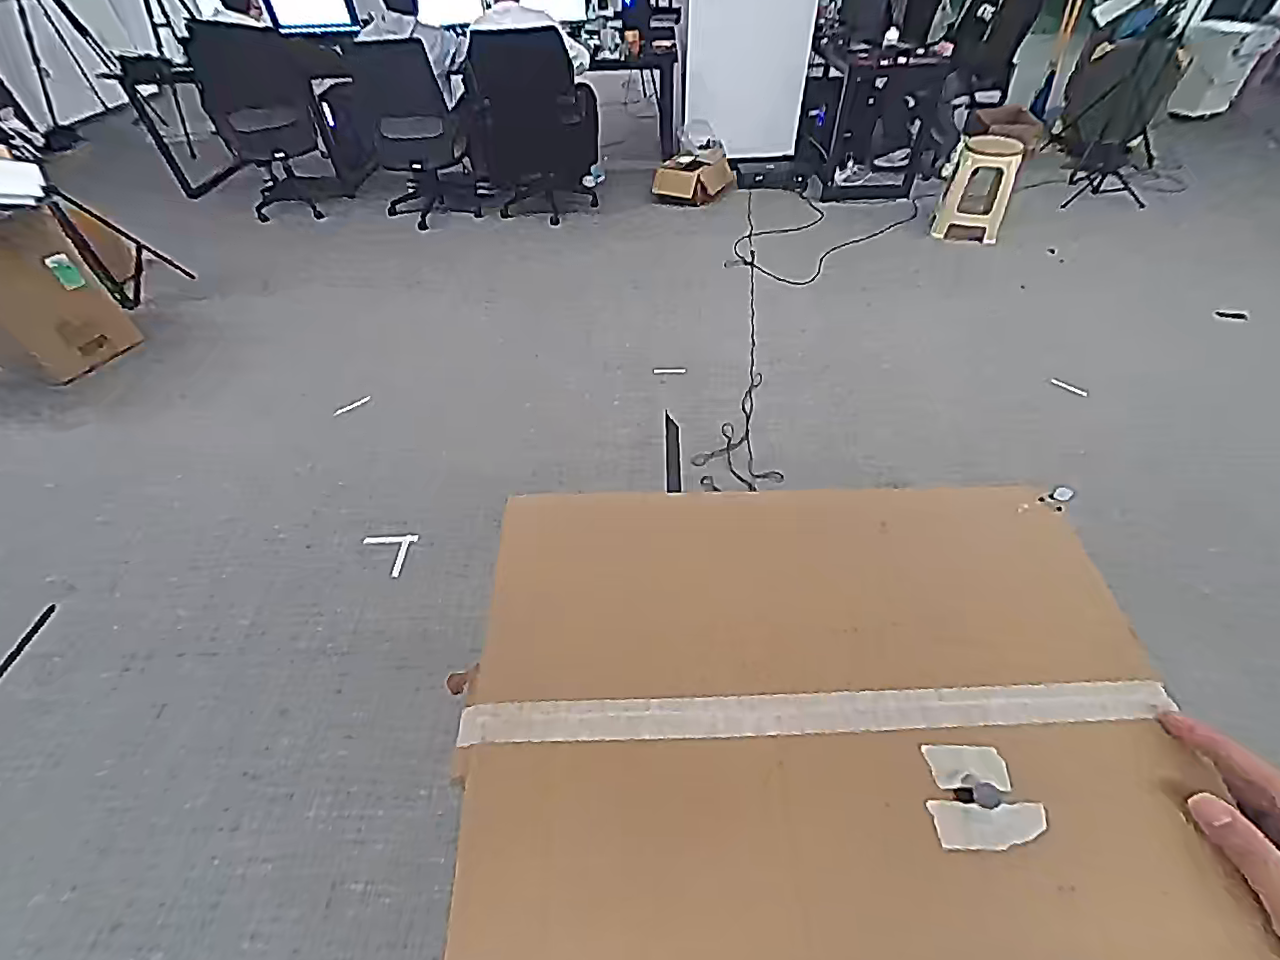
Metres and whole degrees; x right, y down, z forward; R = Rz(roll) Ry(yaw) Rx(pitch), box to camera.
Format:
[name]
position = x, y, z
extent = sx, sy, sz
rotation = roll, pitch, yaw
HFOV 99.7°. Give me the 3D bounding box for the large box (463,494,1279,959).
[large box]
position = 0.103, 0.228, 0.445
extent = 0.408, 0.320, 0.320
rotation = -1, 54, -2
